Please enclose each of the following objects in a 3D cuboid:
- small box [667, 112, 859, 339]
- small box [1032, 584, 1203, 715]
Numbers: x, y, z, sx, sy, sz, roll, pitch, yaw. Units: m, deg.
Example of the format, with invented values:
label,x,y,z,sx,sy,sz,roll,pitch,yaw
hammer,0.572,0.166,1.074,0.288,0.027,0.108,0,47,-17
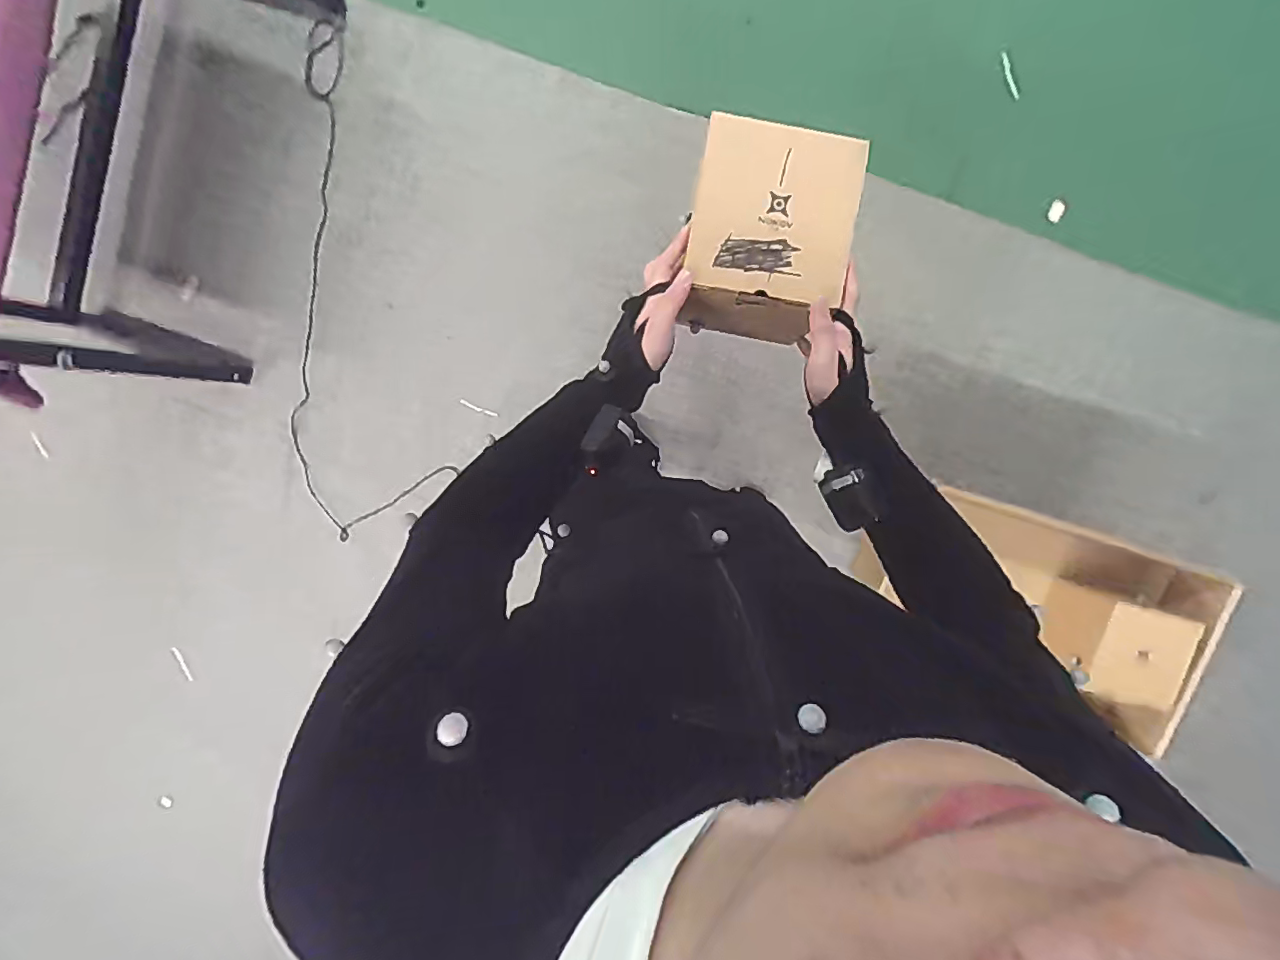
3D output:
label,x,y,z,sx,sy,sz,roll,pitch,yaw
small box,0.126,-0.273,0.624,0.168,0.176,0.179,9,91,-1
small box,0.930,0.325,1.074,0.168,0.176,0.179,15,97,2
